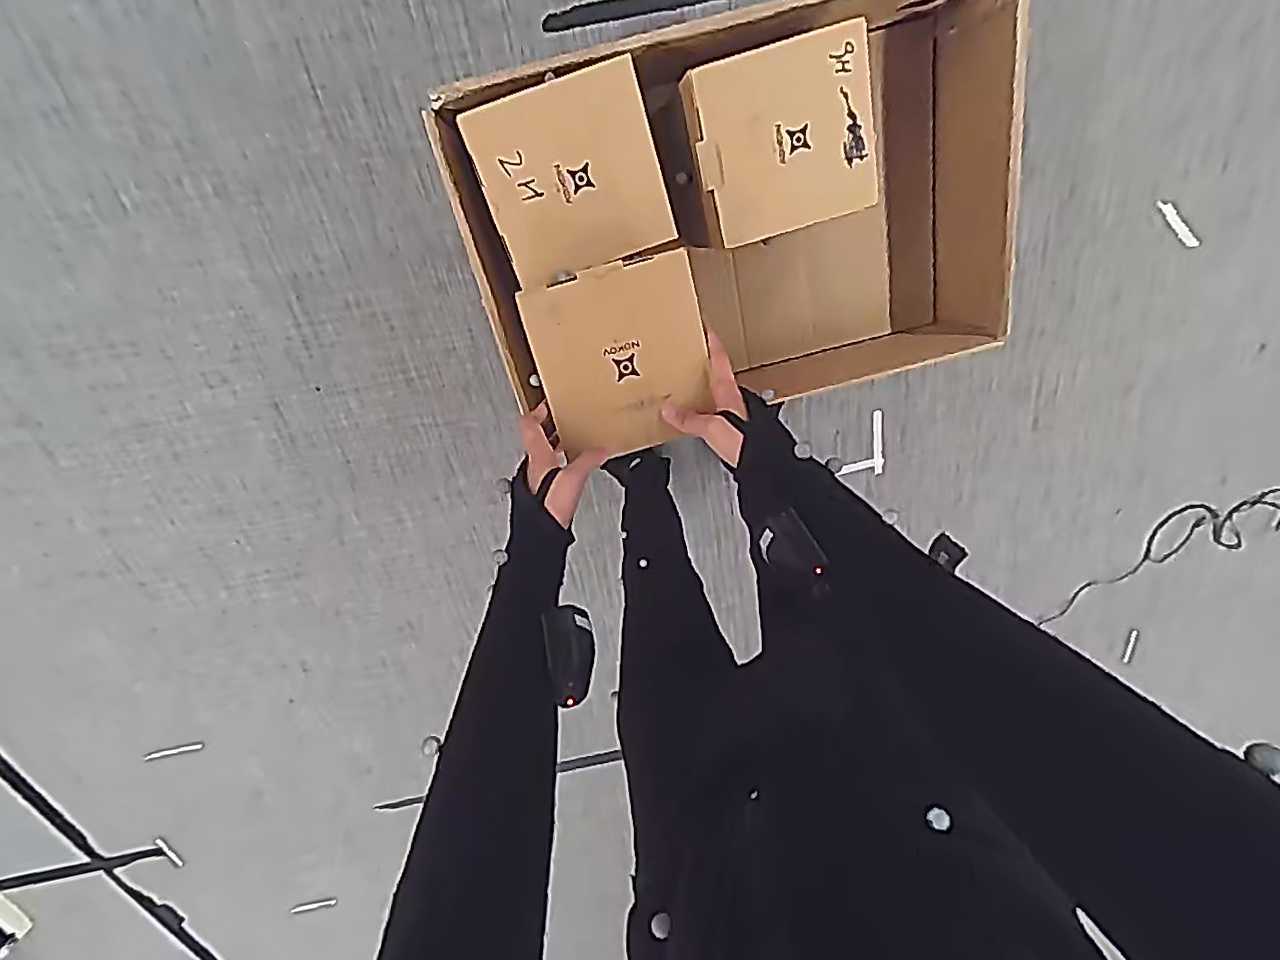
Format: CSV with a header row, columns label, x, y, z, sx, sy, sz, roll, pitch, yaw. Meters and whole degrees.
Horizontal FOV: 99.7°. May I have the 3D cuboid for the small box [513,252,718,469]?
label,x,y,z,sx,sy,sz,roll,pitch,yaw
small box,-0.029,-0.132,0.596,0.168,0.176,0.179,-16,108,-2
